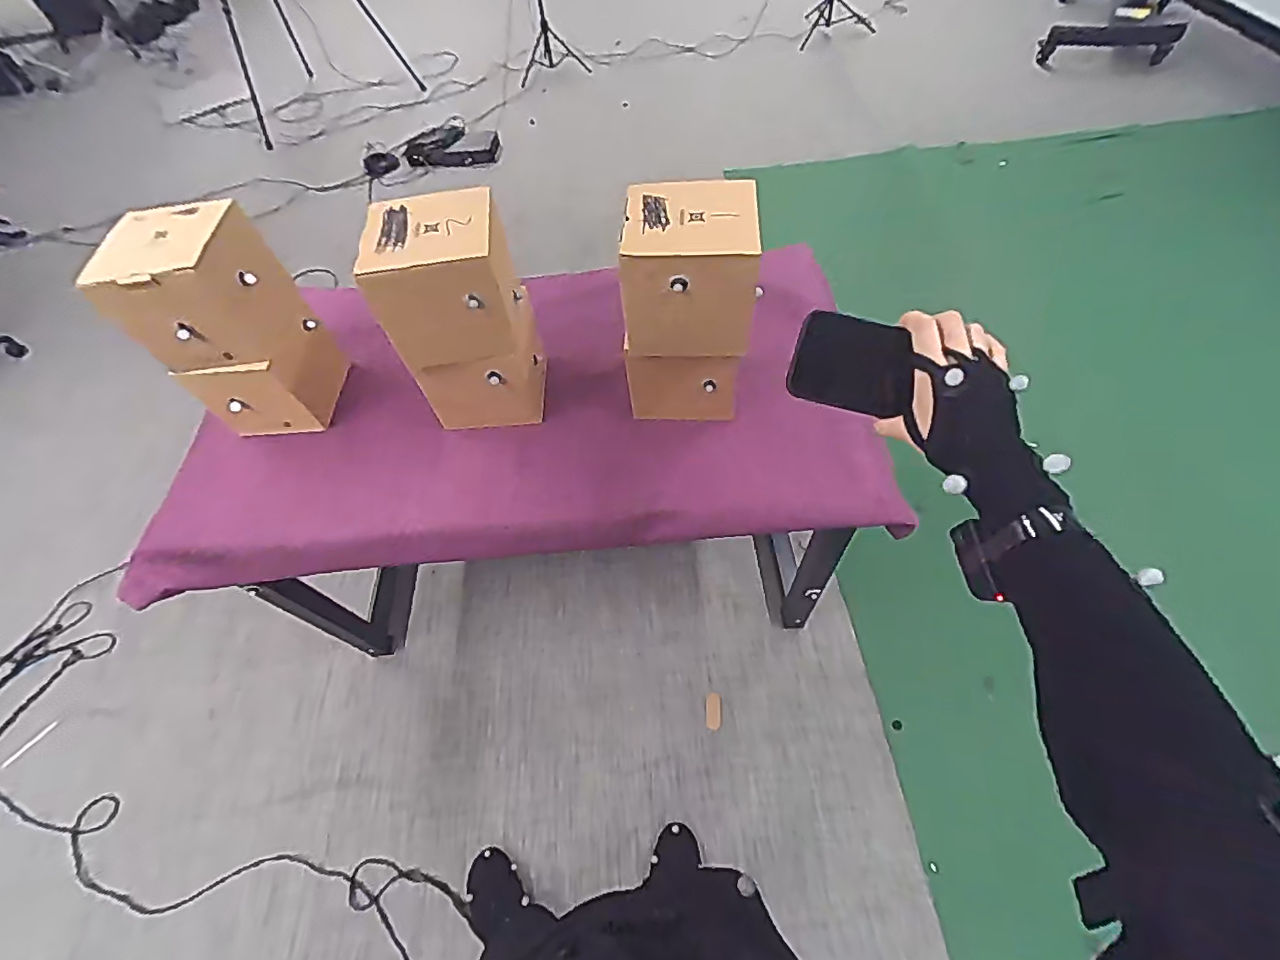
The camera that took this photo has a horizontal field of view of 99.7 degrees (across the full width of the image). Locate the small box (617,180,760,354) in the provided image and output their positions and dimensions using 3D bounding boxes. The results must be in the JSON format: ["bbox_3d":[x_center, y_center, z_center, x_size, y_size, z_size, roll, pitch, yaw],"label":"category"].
[{"bbox_3d":[0.071,-0.293,0.760,0.179,0.176,0.168,1,57,6],"label":"small box"}]

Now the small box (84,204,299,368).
[{"bbox_3d":[-0.667,-0.289,0.835,0.168,0.176,0.179,-8,57,0],"label":"small box"}]

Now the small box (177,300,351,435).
[{"bbox_3d":[-0.652,-0.192,0.967,0.168,0.176,0.179,-4,56,4],"label":"small box"}]

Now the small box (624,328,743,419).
[{"bbox_3d":[0.077,-0.215,0.905,0.179,0.176,0.168,1,57,8],"label":"small box"}]

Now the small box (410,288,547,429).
[{"bbox_3d":[-0.263,-0.204,0.932,0.179,0.176,0.168,-4,57,3],"label":"small box"}]
